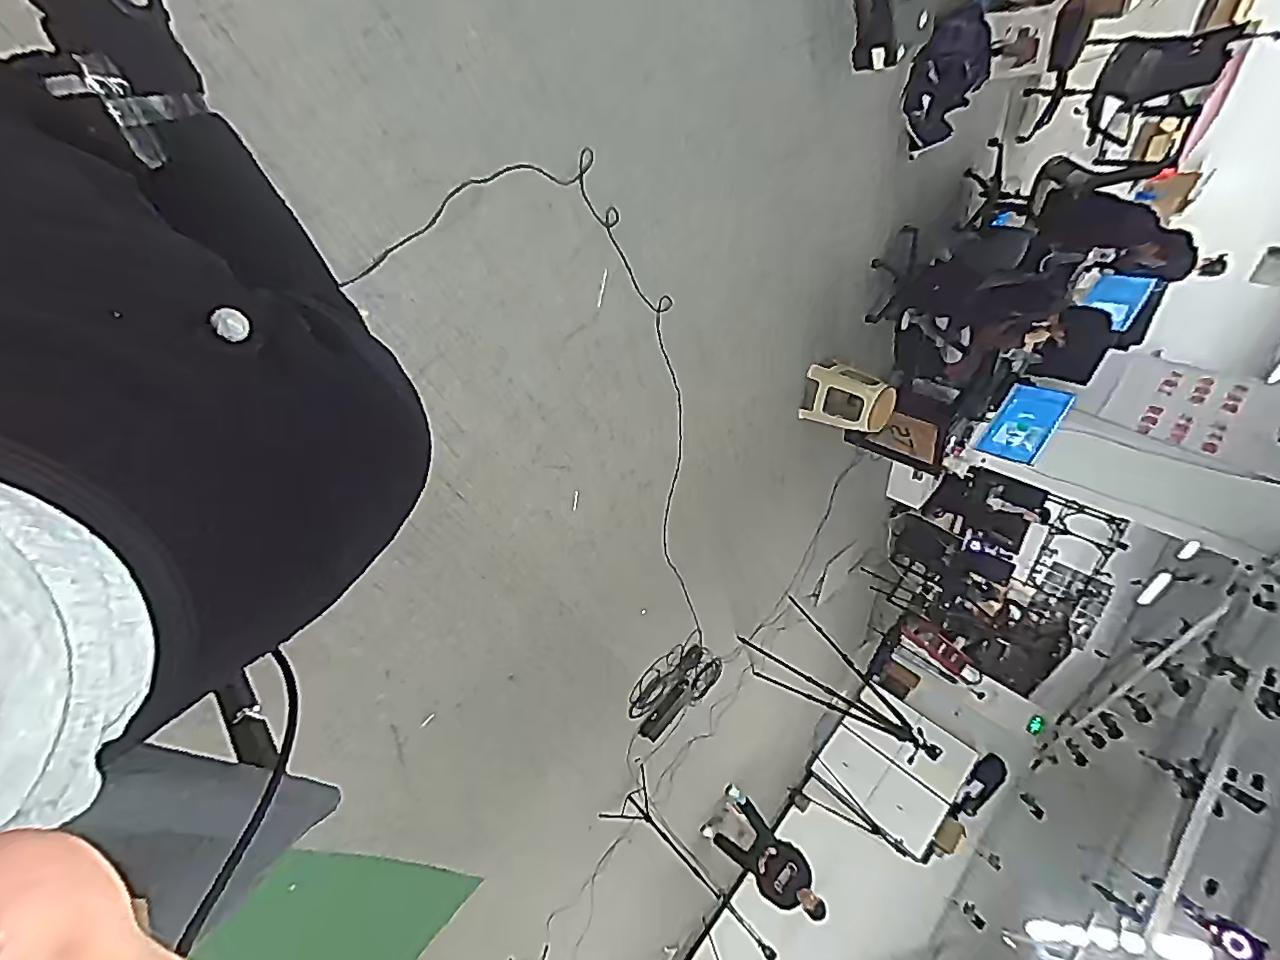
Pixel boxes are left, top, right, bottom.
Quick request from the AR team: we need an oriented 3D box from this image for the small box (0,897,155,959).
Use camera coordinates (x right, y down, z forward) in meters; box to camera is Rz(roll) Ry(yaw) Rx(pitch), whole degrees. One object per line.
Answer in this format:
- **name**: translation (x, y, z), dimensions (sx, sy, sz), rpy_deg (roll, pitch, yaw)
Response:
- **small box**: translation (-0.860, 0.744, 0.779), dimensions (0.179, 0.176, 0.168), rpy_deg (-49, 142, -15)
